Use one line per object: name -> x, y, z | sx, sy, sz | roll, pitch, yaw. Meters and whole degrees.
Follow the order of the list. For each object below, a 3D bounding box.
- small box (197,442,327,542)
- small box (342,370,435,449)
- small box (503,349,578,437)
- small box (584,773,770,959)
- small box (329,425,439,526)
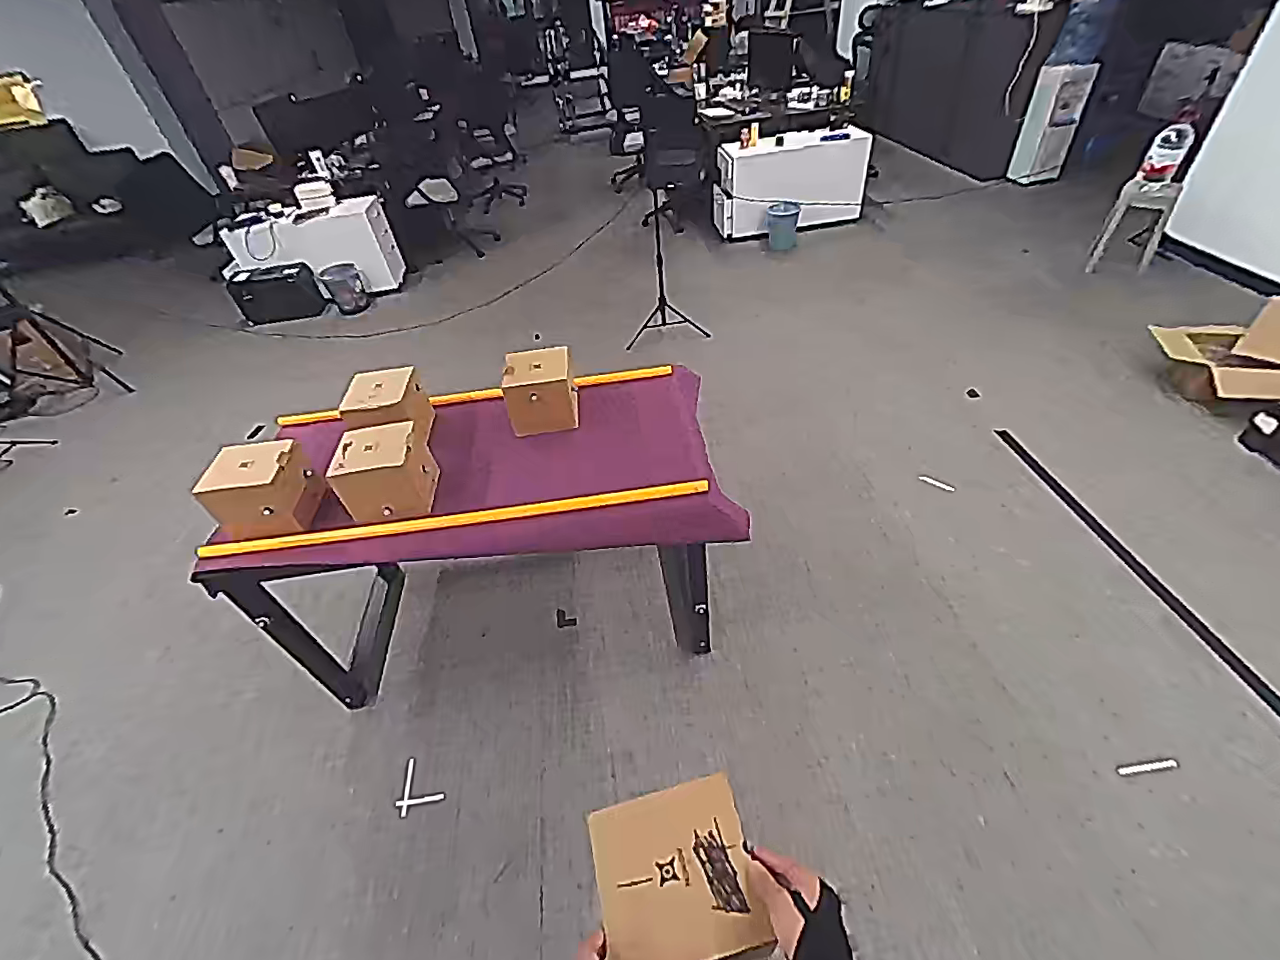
small box -> -0.900, 0.030, 1.311 | 0.179, 0.176, 0.168 | -7, 42, -2
small box -> -0.688, -0.182, 1.505 | 0.168, 0.176, 0.179 | -8, 45, 0
small box -> -0.269, -0.241, 1.507 | 0.179, 0.176, 0.168 | -9, 44, 1
small box -> 0.039, 0.489, 0.652 | 0.179, 0.176, 0.168 | -13, 41, -6
small box -> -0.607, -0.009, 1.311 | 0.179, 0.176, 0.168 | -9, 43, -1
